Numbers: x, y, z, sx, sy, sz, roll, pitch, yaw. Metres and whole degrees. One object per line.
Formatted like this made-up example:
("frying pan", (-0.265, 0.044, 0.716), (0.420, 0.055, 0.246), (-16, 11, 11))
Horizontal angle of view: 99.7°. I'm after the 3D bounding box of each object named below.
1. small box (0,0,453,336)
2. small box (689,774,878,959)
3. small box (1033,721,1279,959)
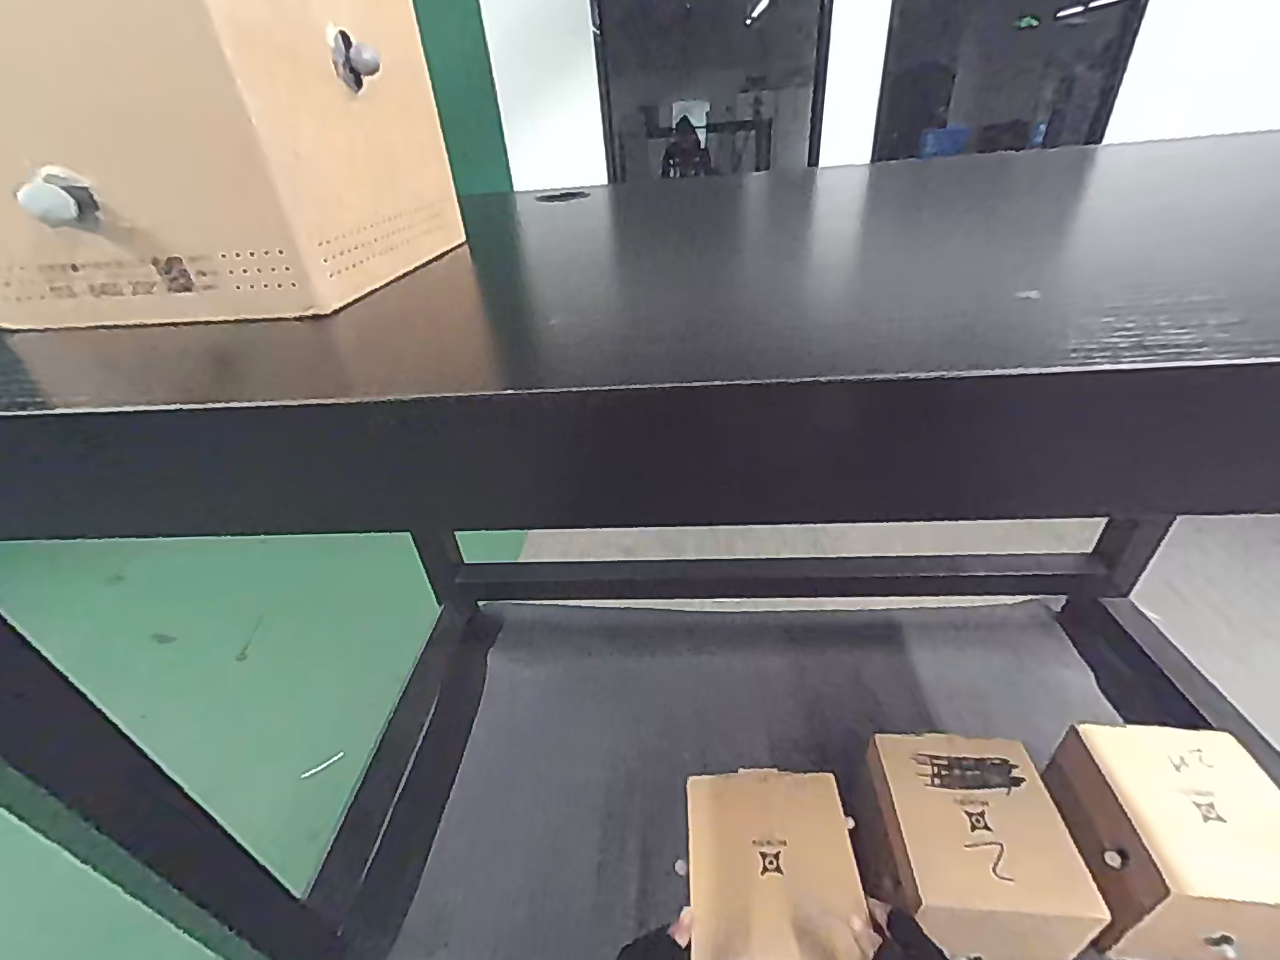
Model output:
("small box", (-0.212, -0.180, 0.272), (0.168, 0.176, 0.179), (-1, 34, 6))
("small box", (0.144, 0.450, 0.583), (0.168, 0.176, 0.179), (-5, 29, 7))
("small box", (0.587, 0.402, 0.605), (0.168, 0.176, 0.179), (0, 33, 8))
